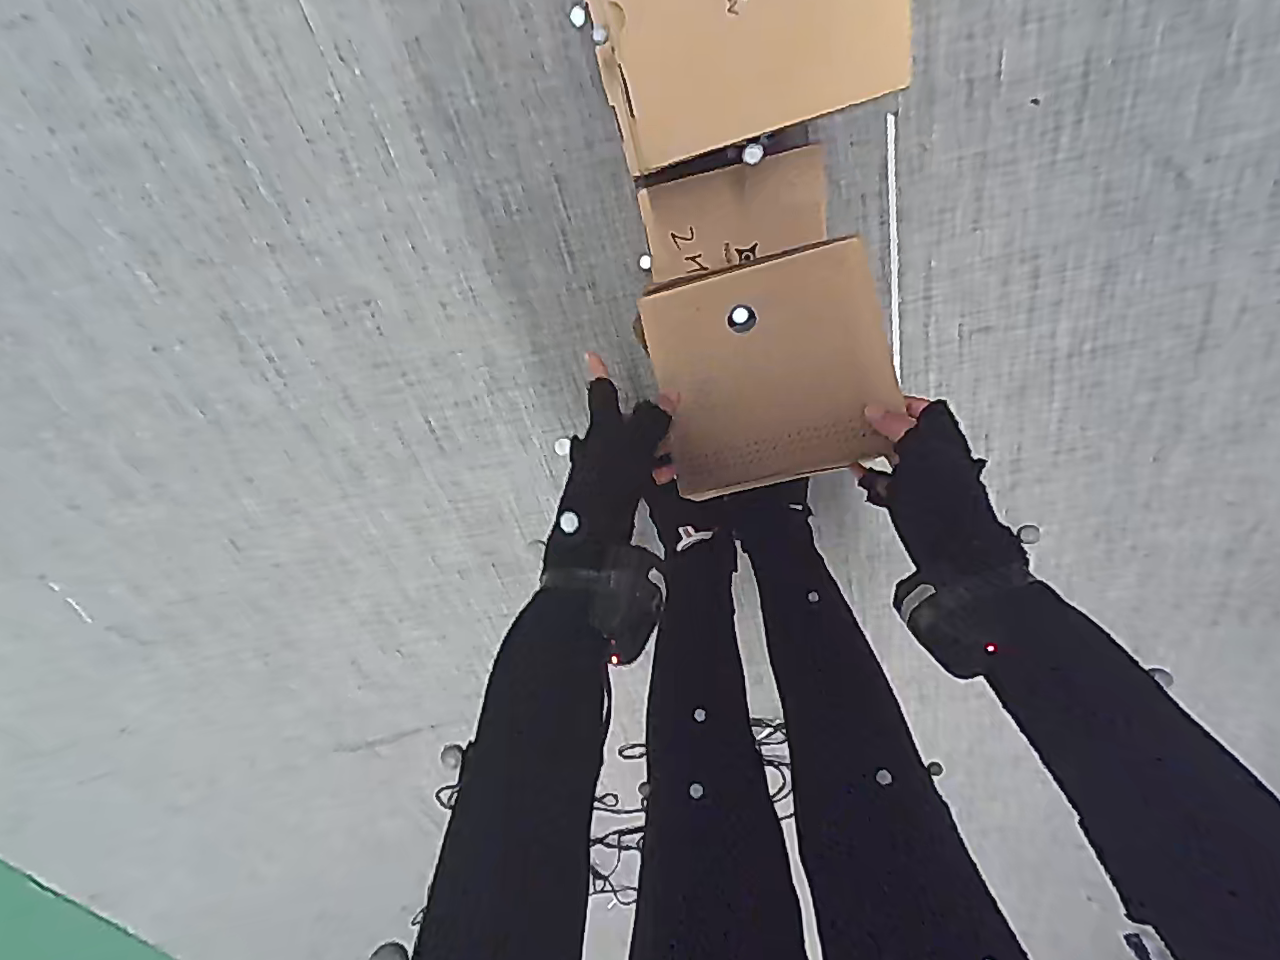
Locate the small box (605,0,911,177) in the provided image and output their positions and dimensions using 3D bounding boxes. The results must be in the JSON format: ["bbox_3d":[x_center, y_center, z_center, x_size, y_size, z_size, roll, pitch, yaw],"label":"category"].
[{"bbox_3d":[0.069,-0.333,0.386,0.179,0.176,0.168,-13,119,8],"label":"small box"}]

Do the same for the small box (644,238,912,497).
[{"bbox_3d":[0.116,-0.079,0.491,0.179,0.168,0.176,-12,84,9],"label":"small box"}]
